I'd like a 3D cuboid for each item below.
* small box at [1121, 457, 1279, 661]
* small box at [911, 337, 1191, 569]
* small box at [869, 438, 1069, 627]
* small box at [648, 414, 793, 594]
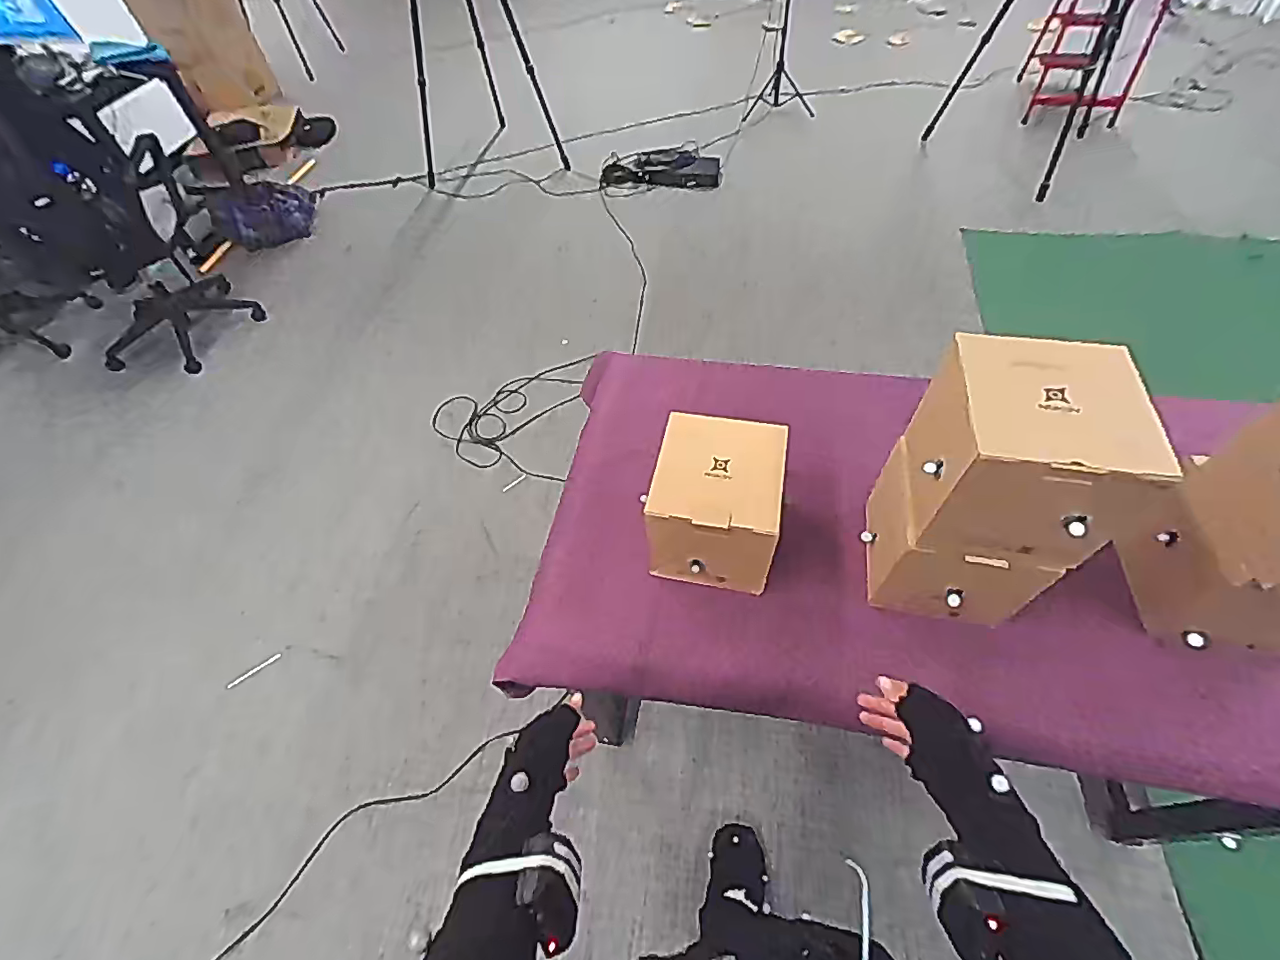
[{"bbox_3d":[0.745,0.101,0.656,0.168,0.176,0.179,10,56,10],"label":"small box"},{"bbox_3d":[0.404,-0.025,0.575,0.168,0.176,0.179,8,55,10],"label":"small box"},{"bbox_3d":[0.408,0.072,0.706,0.168,0.176,0.179,9,55,10],"label":"small box"},{"bbox_3d":[0.111,0.035,0.758,0.168,0.176,0.179,9,56,10],"label":"small box"}]
